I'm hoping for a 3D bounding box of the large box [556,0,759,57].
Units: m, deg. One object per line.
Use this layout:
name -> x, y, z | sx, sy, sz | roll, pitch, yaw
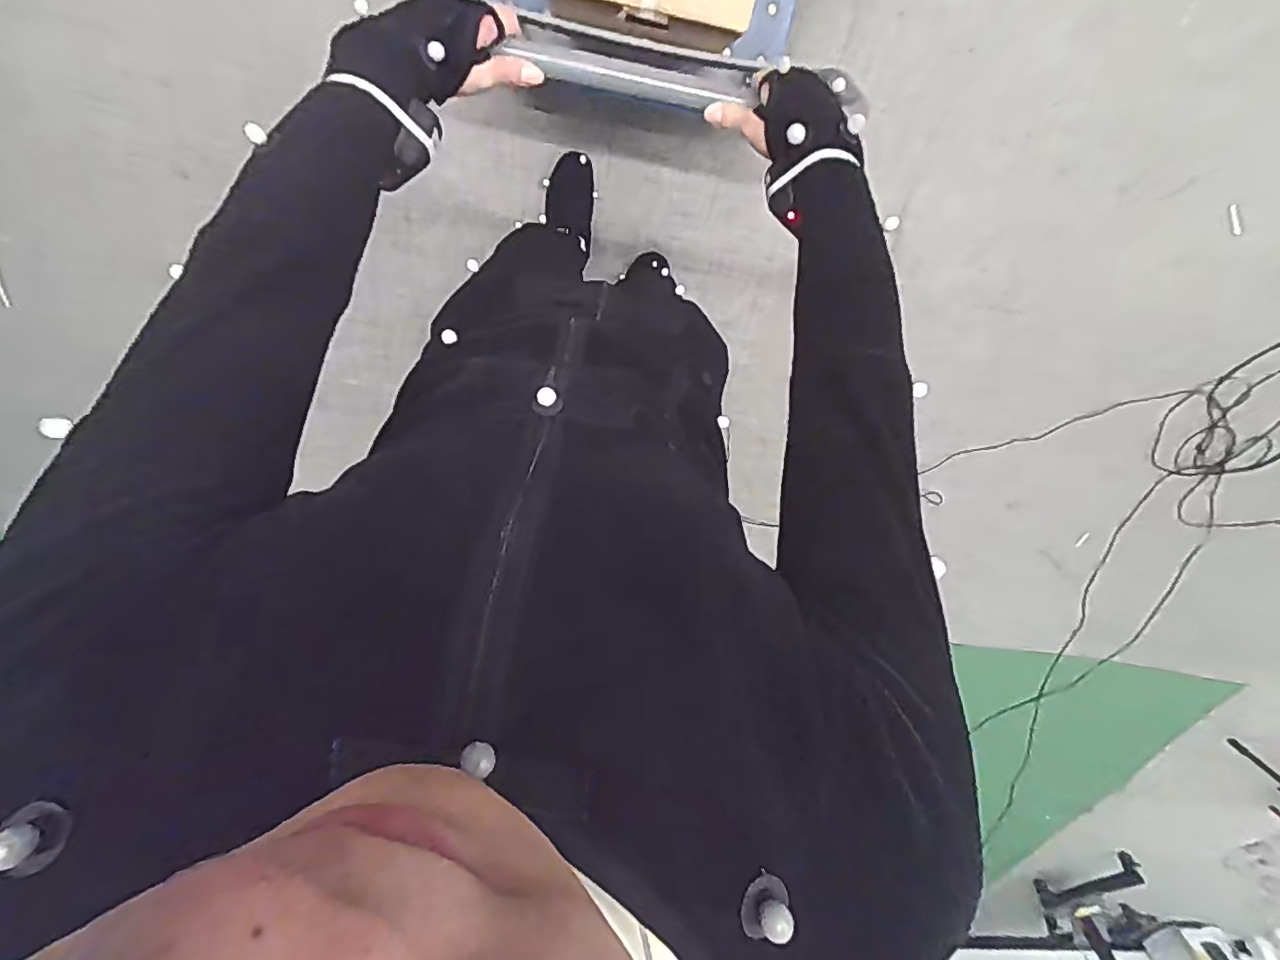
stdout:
large box -> 0.043, -0.933, 0.817 | 0.320, 0.320, 0.408 | 7, 121, -7
